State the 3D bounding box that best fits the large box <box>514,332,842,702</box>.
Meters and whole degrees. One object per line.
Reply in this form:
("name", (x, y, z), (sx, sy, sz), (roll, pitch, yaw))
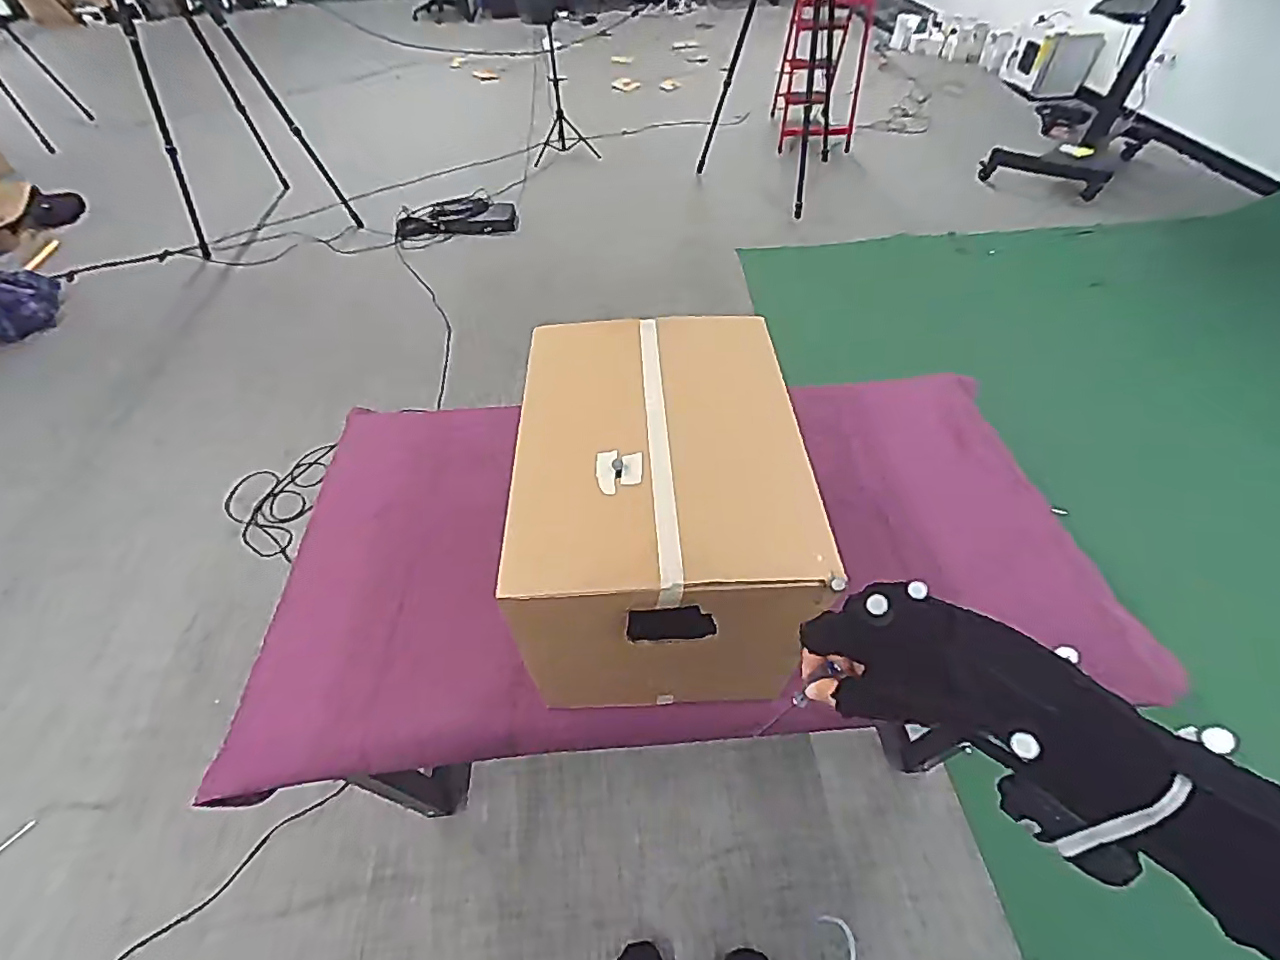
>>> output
("large box", (0.026, 0.047, 0.735), (0.320, 0.320, 0.408), (-3, 51, 0))
